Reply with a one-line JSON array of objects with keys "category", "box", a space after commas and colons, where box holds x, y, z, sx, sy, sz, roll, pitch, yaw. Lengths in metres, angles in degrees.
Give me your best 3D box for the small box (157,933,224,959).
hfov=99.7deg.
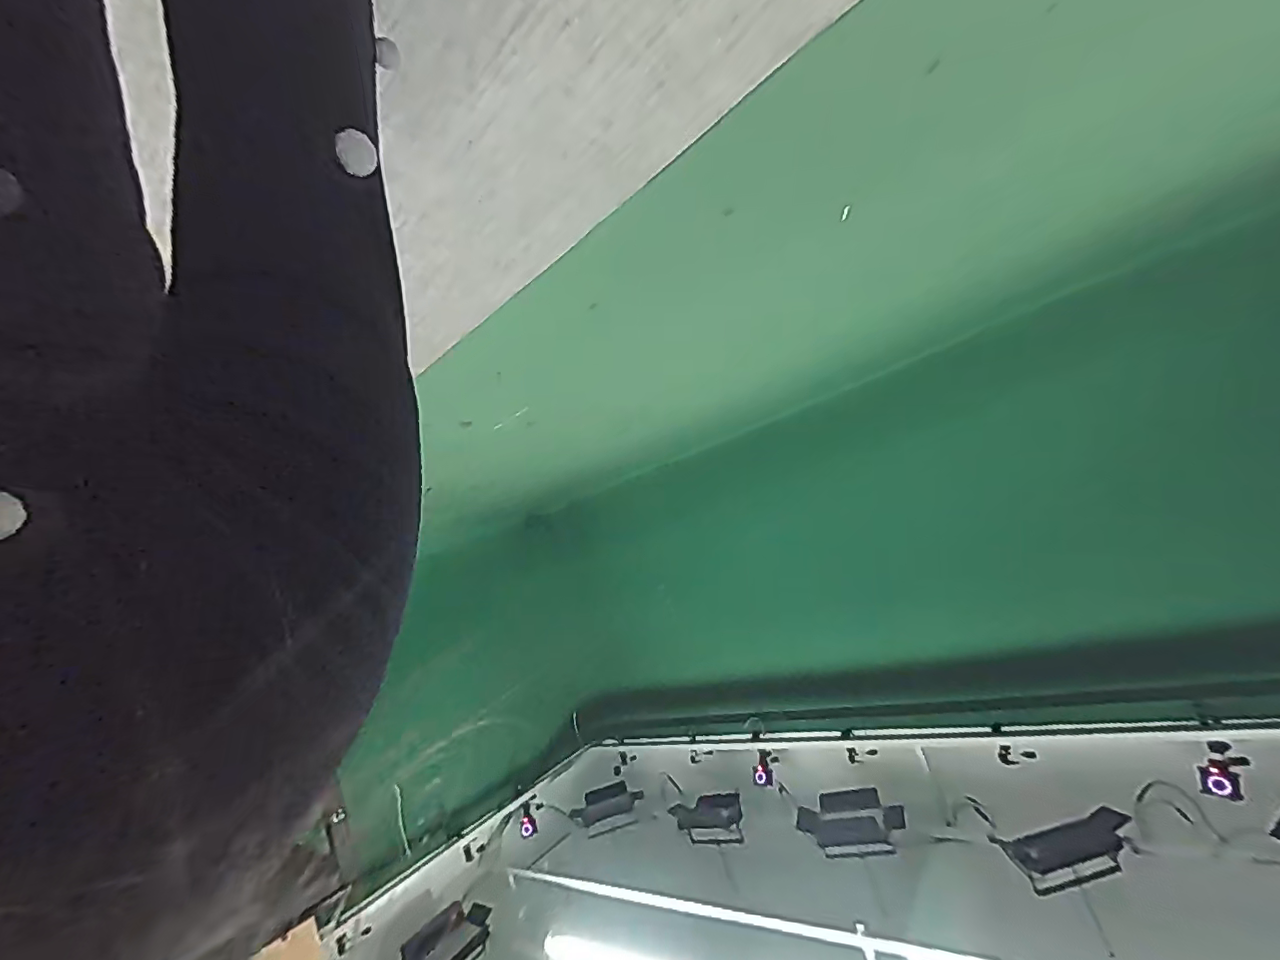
[{"category": "small box", "box": [-1.198, 1.337, 1.408, 0.179, 0.176, 0.168, -21, 172, 36]}]
